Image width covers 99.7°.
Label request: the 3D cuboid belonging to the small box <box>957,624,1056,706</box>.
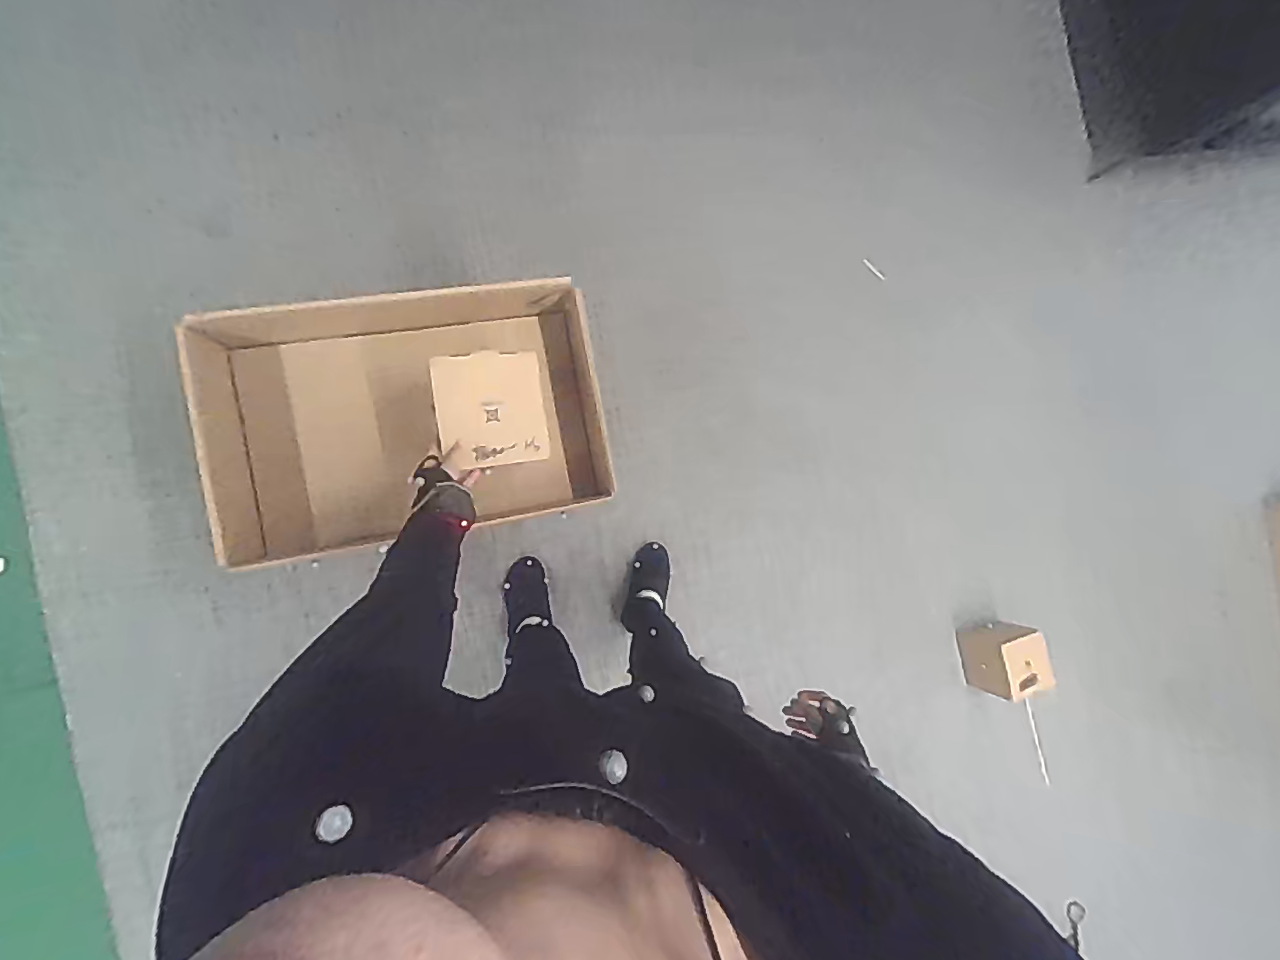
[{"bbox_3d":[1.125,0.564,1.670,0.168,0.176,0.179,-13,89,-14],"label":"small box"}]

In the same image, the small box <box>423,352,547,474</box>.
[{"bbox_3d":[-0.262,-0.106,0.896,0.168,0.176,0.179,-8,94,-23],"label":"small box"}]
